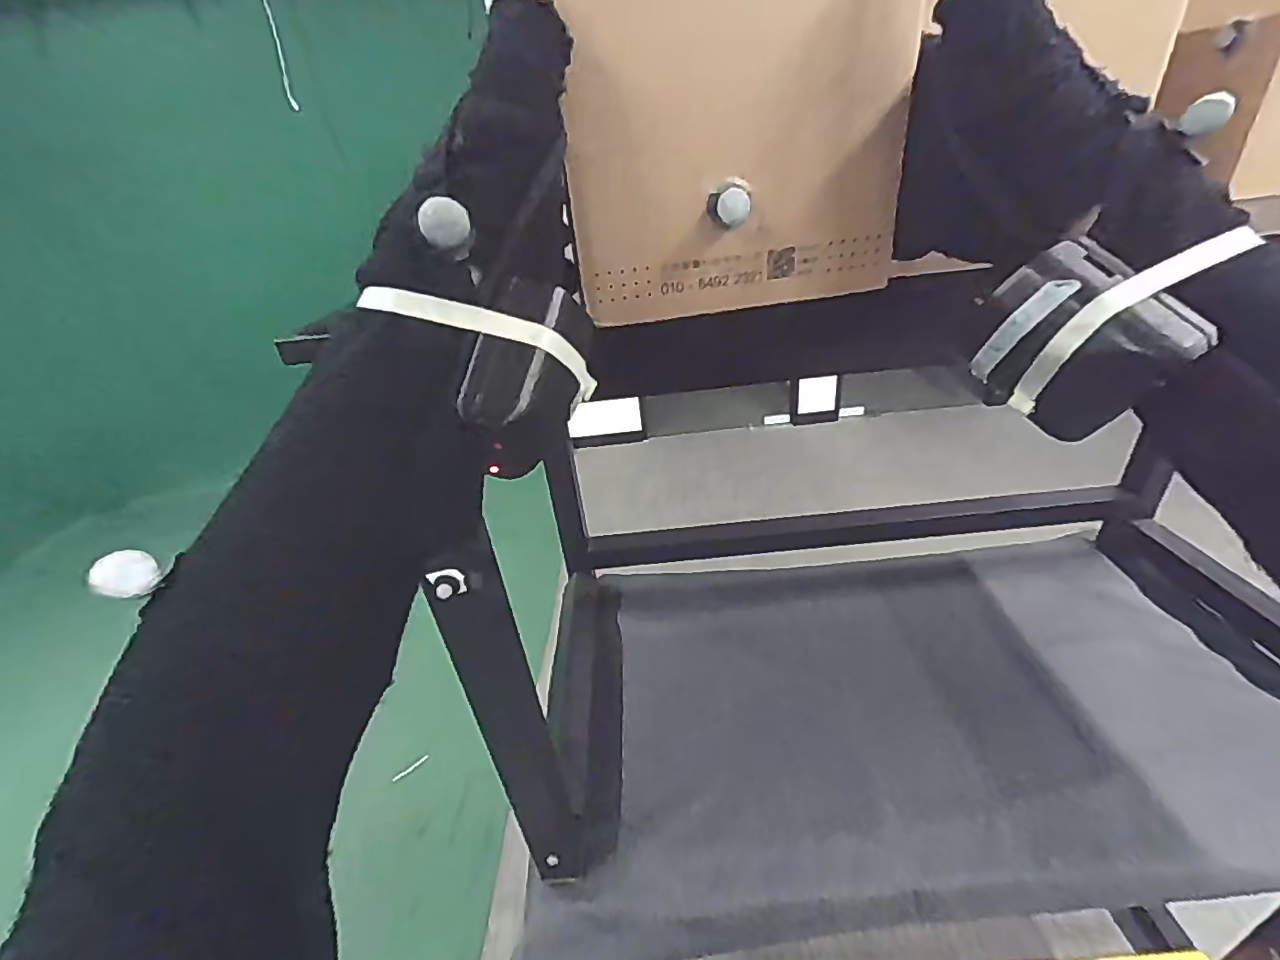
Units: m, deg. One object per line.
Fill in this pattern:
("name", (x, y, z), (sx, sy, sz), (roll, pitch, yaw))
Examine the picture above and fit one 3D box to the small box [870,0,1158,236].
("small box", (0.254, -0.297, 0.428), (0.168, 0.176, 0.179), (-5, 30, 5))
